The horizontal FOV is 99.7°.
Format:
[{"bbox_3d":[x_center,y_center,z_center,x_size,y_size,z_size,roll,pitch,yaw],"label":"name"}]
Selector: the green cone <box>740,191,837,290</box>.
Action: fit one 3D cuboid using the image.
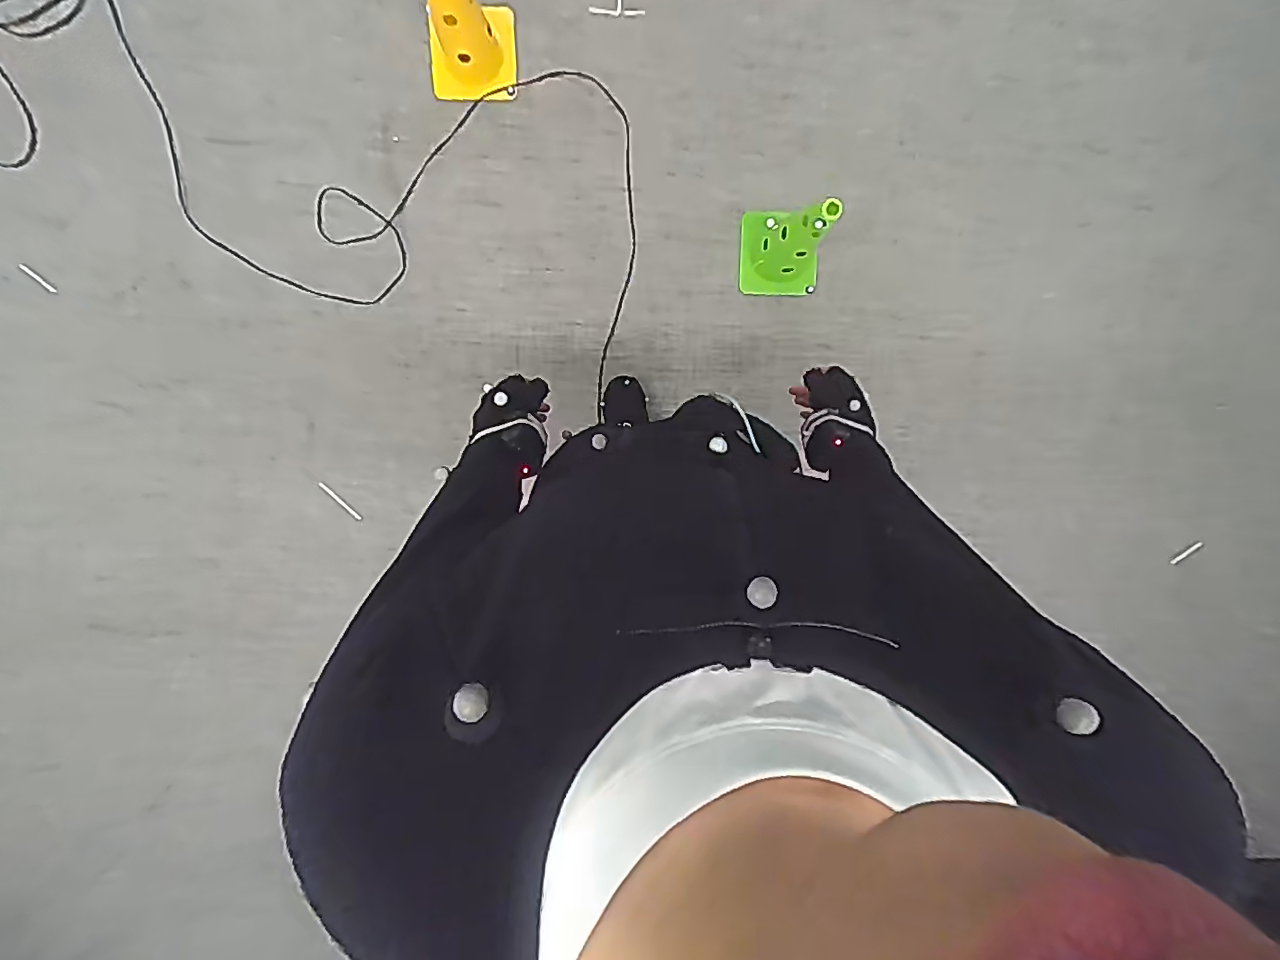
[{"bbox_3d":[0.361,-0.565,1.210,0.202,0.368,0.200,0,99,-1],"label":"green cone"}]
